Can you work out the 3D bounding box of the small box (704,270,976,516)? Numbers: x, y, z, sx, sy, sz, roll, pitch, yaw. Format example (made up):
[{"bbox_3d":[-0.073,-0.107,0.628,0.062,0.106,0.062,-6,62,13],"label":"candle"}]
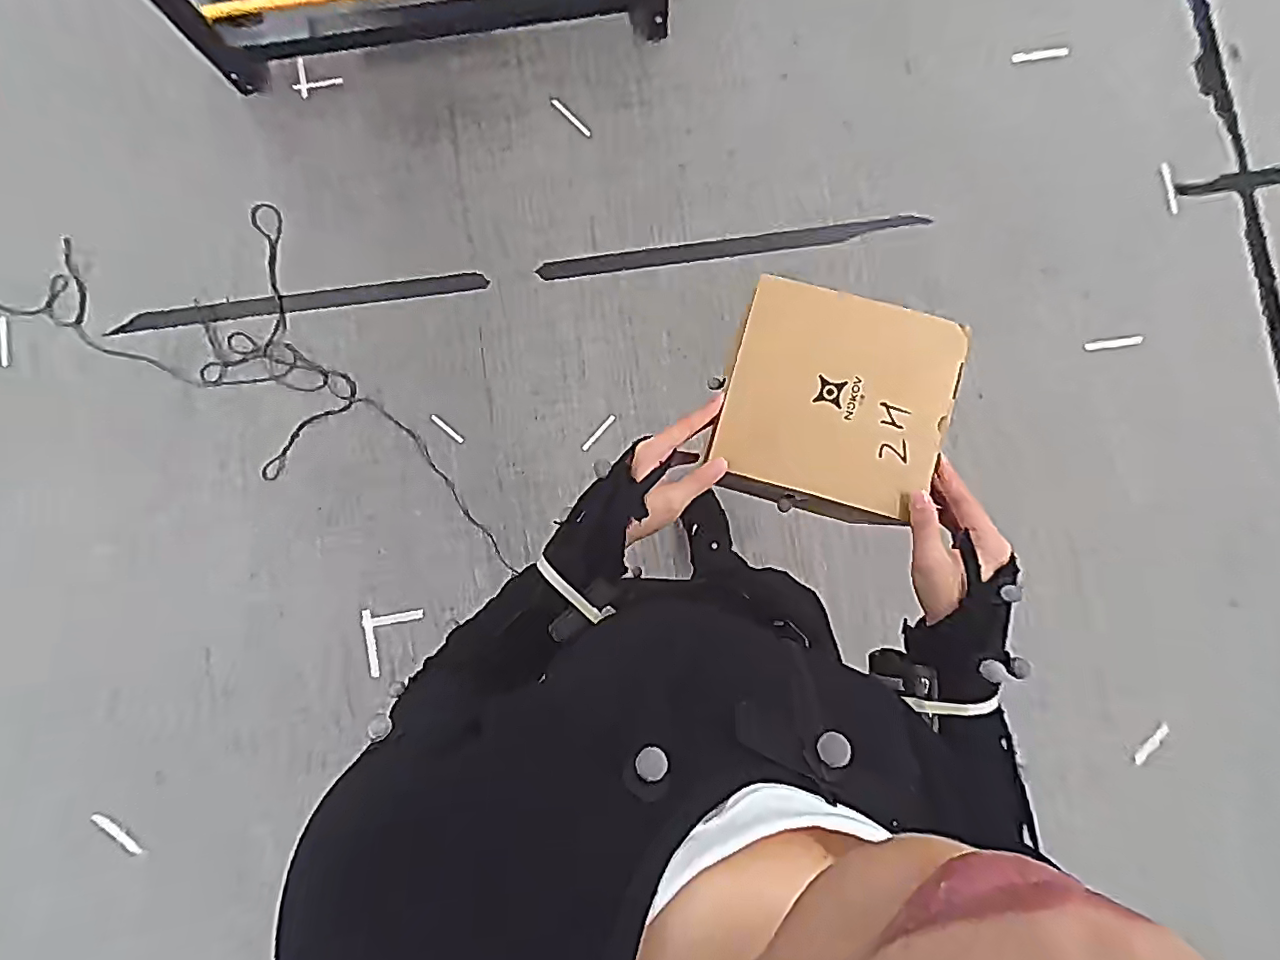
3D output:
[{"bbox_3d":[0.164,-0.066,0.505,0.179,0.176,0.168,15,88,3],"label":"small box"}]
